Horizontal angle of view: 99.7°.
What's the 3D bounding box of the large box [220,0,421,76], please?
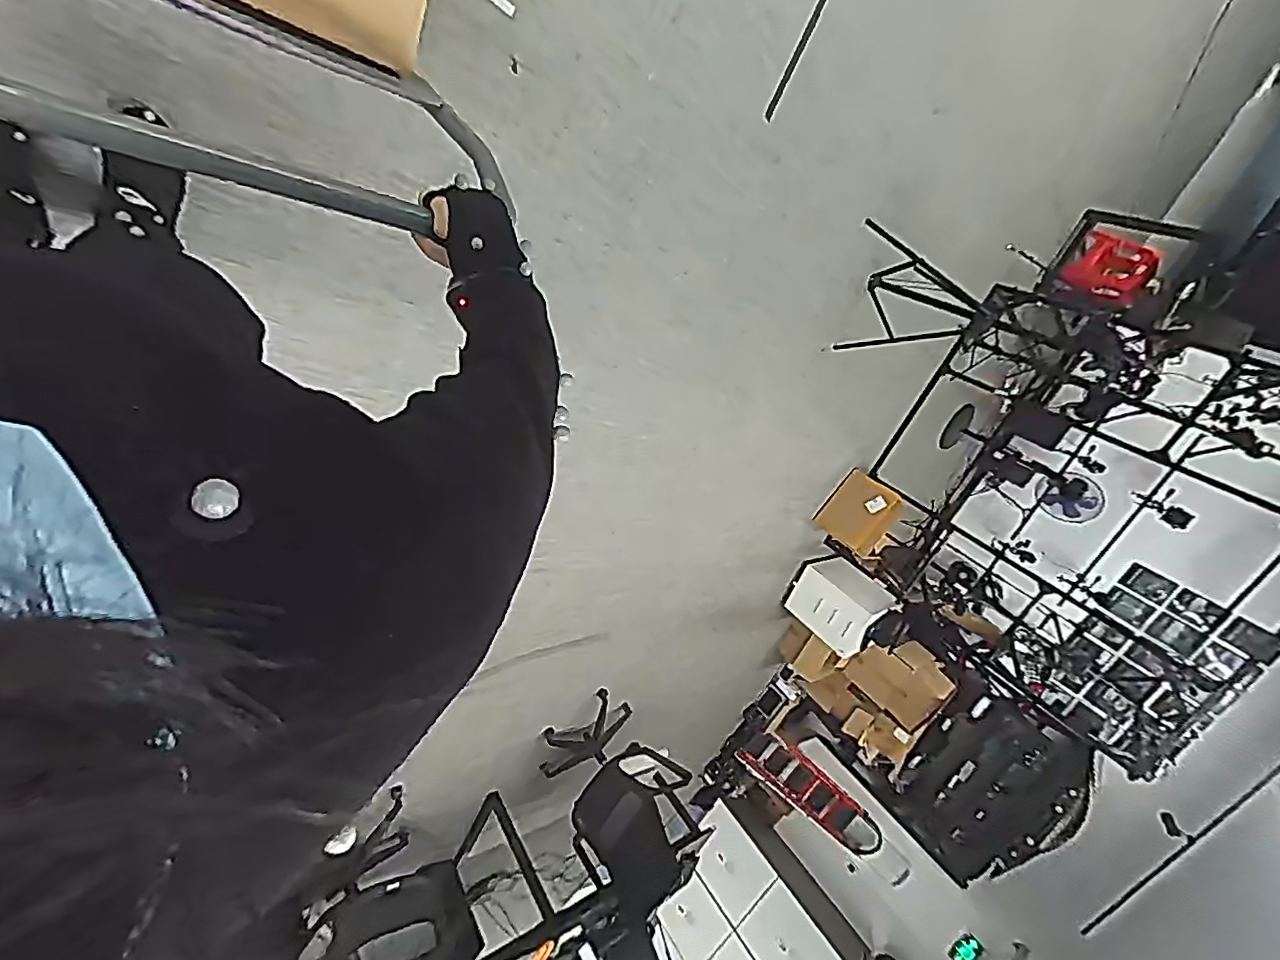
[{"bbox_3d":[-0.507,-0.788,0.661,0.408,0.320,0.320,-5,134,-44],"label":"large box"}]
